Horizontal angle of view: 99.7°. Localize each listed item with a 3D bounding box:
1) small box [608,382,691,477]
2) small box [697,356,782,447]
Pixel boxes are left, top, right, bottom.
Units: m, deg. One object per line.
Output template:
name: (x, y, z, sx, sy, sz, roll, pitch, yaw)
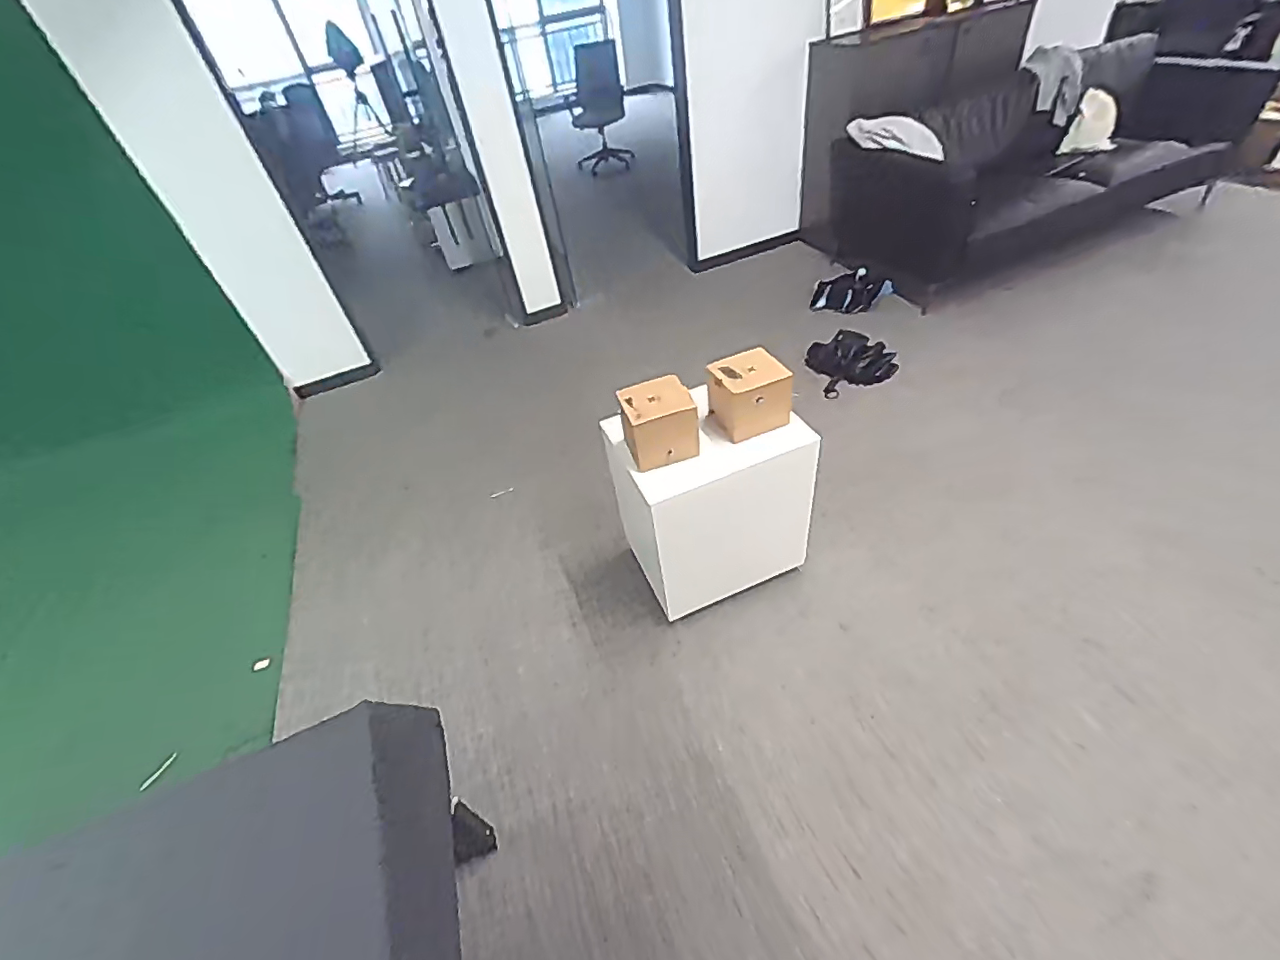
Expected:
small box: (0.025, -0.135, 1.447, 0.179, 0.176, 0.168, -16, 43, -11)
small box: (0.273, -0.214, 1.499, 0.179, 0.176, 0.168, -19, 44, -13)
